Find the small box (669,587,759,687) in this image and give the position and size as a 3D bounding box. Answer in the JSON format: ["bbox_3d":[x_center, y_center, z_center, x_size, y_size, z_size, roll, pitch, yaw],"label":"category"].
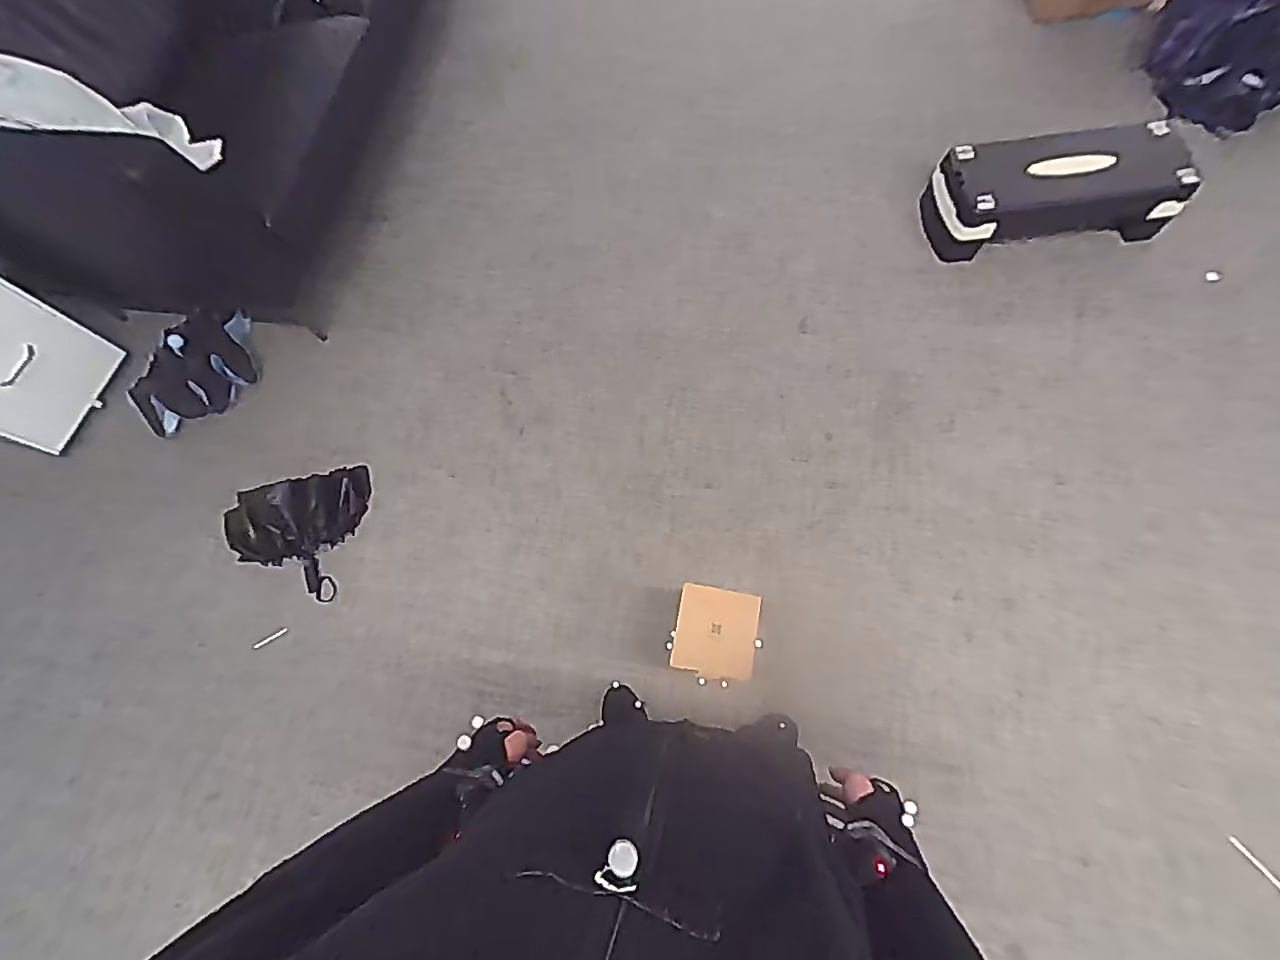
[{"bbox_3d":[0.161,0.348,1.188,0.168,0.176,0.179,9,69,8],"label":"small box"}]
